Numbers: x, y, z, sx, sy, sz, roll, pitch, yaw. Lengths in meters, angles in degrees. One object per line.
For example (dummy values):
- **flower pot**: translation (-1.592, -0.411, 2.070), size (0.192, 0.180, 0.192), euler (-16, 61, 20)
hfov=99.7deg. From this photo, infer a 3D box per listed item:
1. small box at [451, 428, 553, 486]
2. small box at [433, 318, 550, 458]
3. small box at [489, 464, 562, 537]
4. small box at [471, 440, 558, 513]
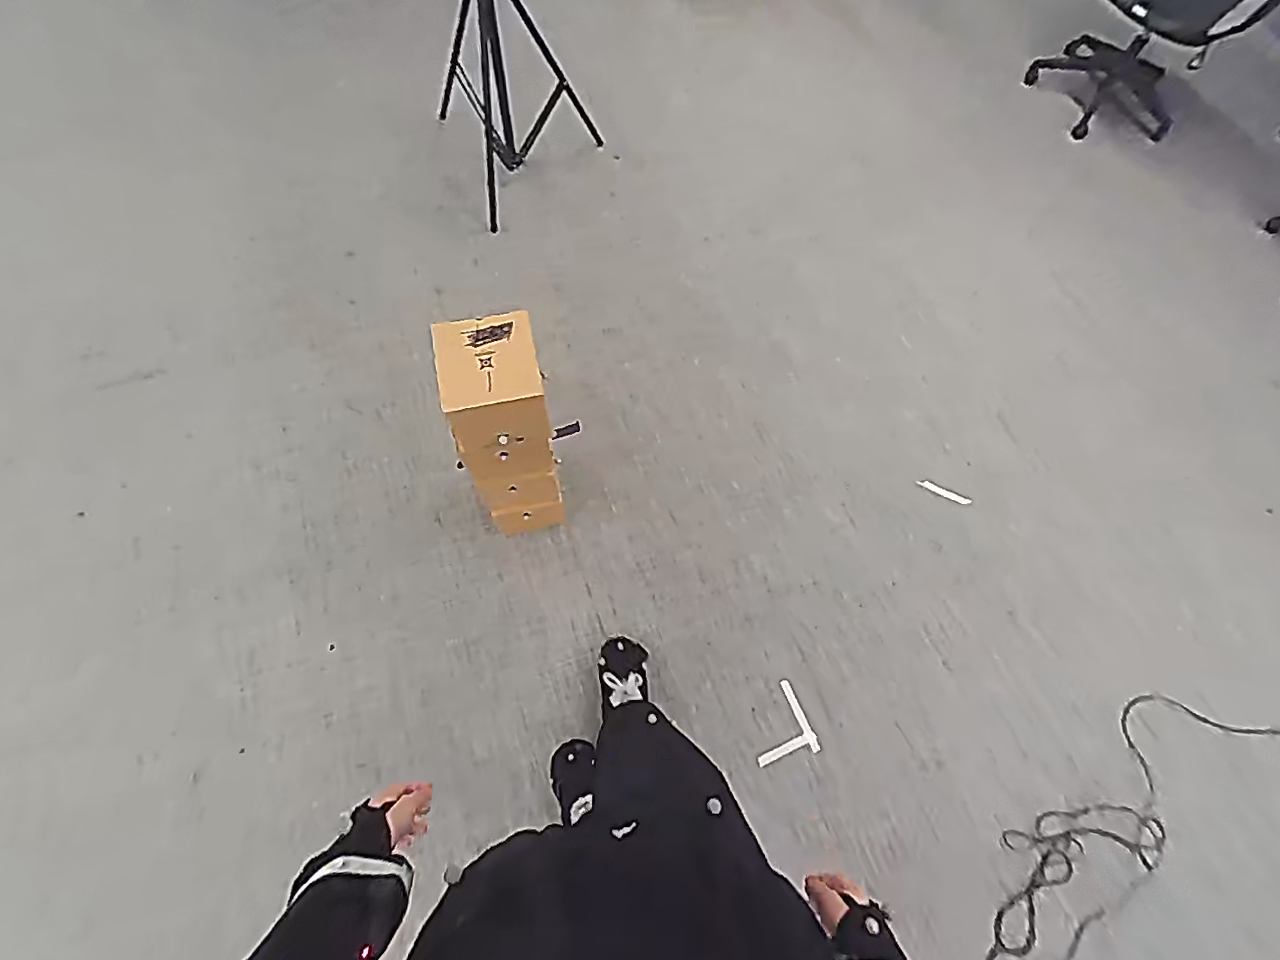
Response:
- **small box**: translation (-0.287, -0.099, 1.129), size (0.179, 0.176, 0.168), euler (-11, 70, -9)
- **small box**: translation (-0.263, -0.161, 0.978), size (0.168, 0.176, 0.179), euler (-12, 71, -8)
- **small box**: translation (-0.304, 0.039, 1.424), size (0.179, 0.176, 0.168), euler (-11, 69, -9)
- **small box**: translation (-0.296, -0.031, 1.275), size (0.179, 0.176, 0.168), euler (-8, 69, -8)
